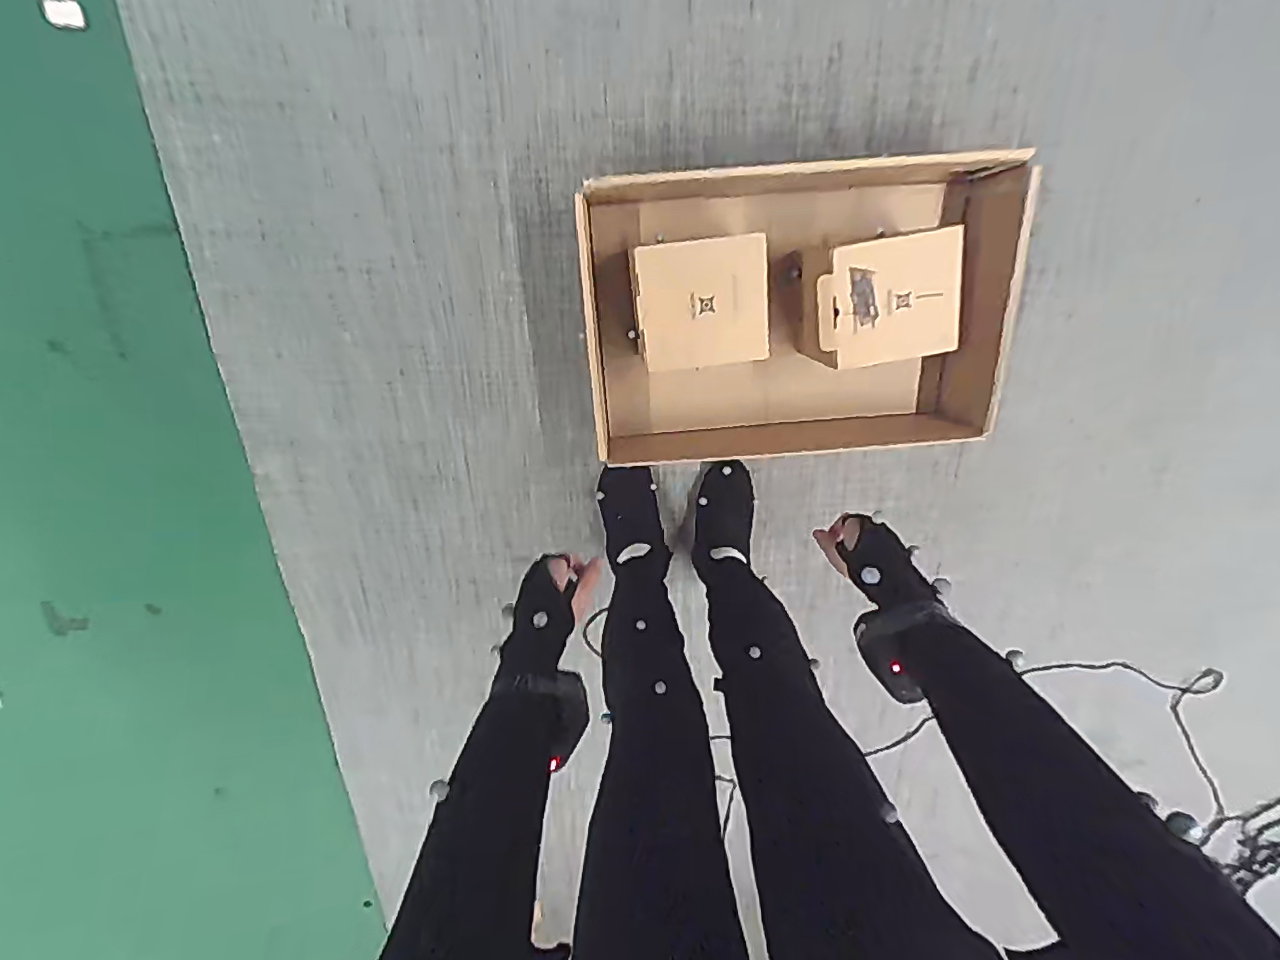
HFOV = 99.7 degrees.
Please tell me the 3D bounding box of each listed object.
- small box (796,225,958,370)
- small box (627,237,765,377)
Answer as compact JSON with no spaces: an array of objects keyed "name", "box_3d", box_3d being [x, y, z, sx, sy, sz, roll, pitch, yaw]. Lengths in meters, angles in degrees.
[{"name":"small box","box_3d":[0.340,-0.272,0.808,0.179,0.176,0.168,-11,112,2]},{"name":"small box","box_3d":[0.075,-0.257,0.800,0.179,0.176,0.168,-8,113,-1]}]
